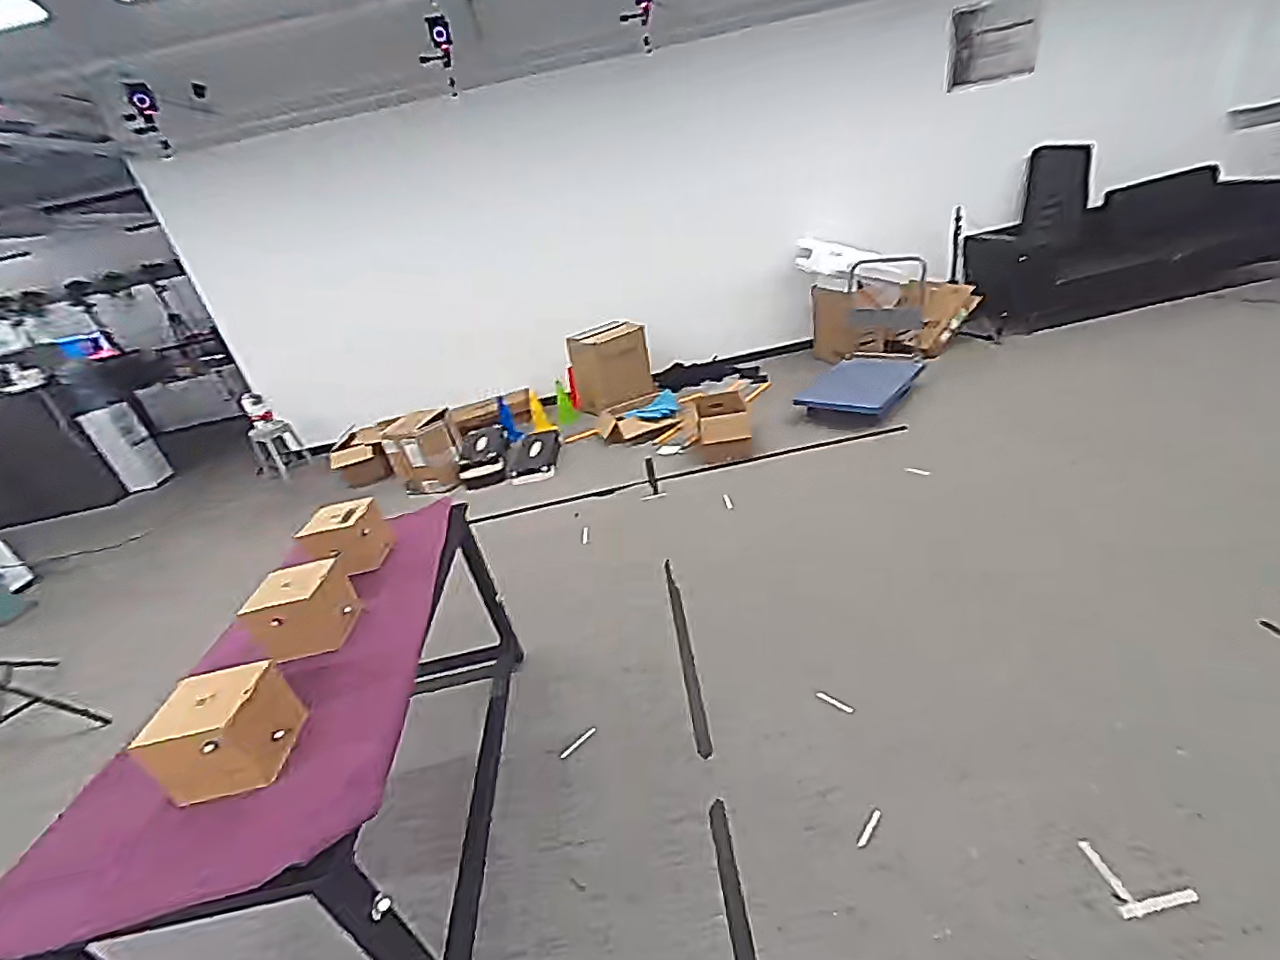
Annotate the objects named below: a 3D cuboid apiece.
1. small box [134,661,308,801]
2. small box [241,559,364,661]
[{"bbox_3d":[-0.797,0.488,1.051,0.179,0.176,0.168,-12,27,-2],"label":"small box"},{"bbox_3d":[-0.840,0.330,1.365,0.179,0.176,0.168,-13,28,-1],"label":"small box"}]
